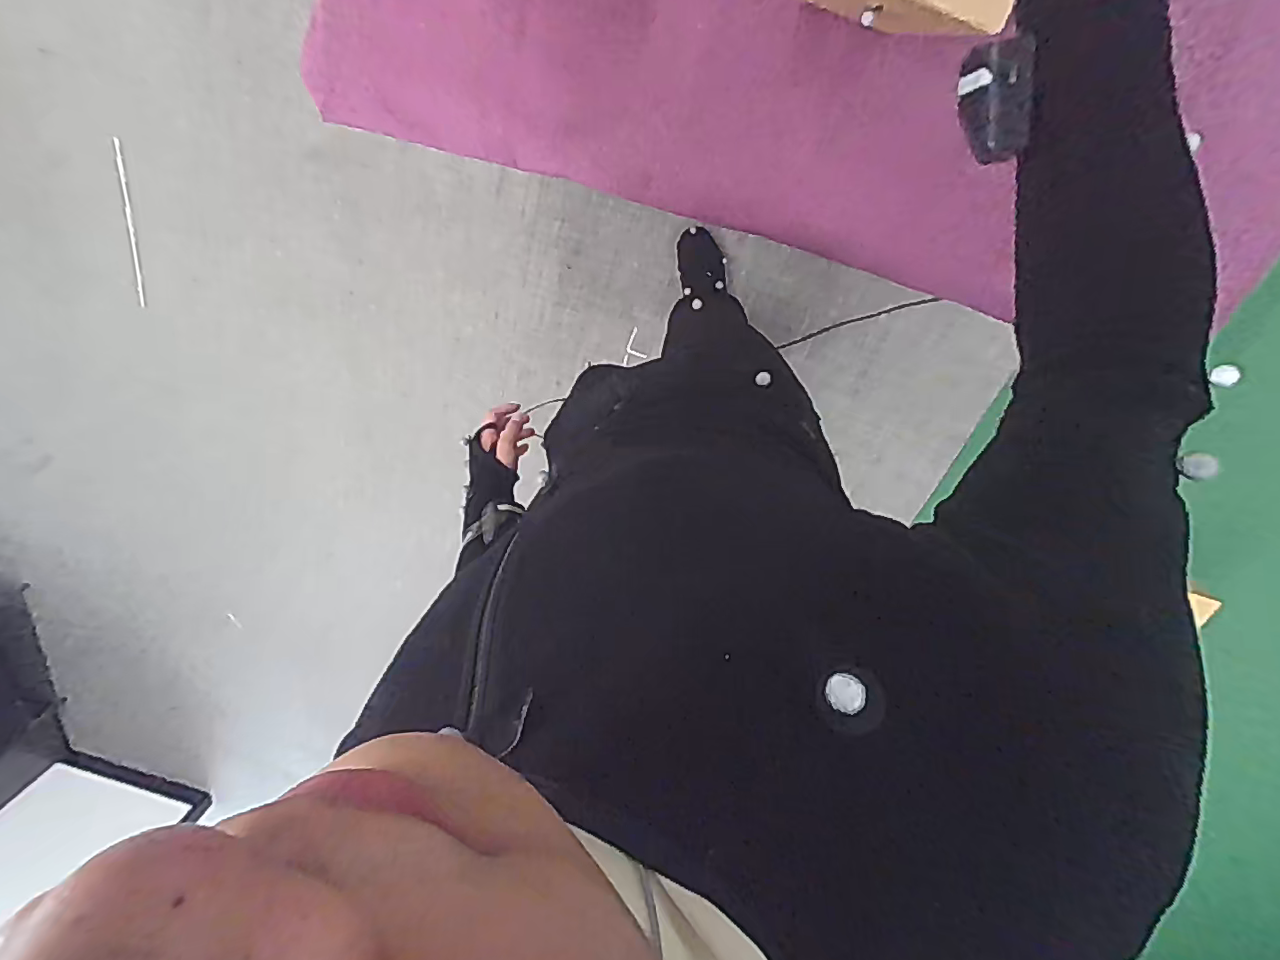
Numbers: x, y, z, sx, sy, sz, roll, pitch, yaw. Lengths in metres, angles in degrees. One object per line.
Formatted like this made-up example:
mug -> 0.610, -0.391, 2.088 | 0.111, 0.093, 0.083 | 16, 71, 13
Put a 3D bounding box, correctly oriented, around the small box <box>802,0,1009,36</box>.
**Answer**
small box -> 0.238, -0.519, 0.474 | 0.179, 0.176, 0.168 | 3, 127, -18
